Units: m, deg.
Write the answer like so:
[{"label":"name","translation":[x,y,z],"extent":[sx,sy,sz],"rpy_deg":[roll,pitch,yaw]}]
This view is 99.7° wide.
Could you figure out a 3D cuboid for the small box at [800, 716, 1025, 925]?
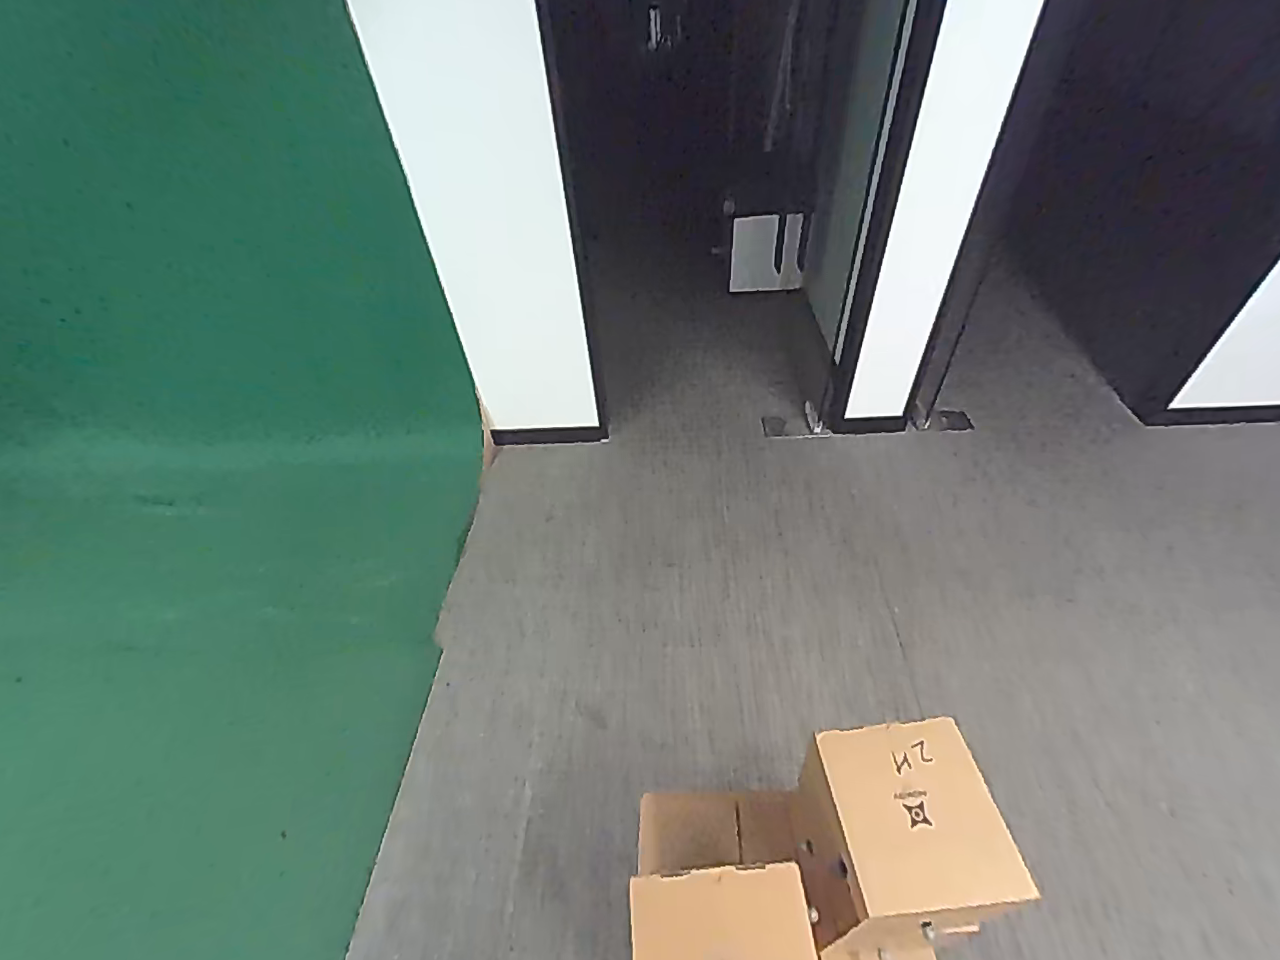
[{"label":"small box","translation":[0.298,0.406,0.640],"extent":[0.168,0.176,0.179],"rpy_deg":[-7,44,1]}]

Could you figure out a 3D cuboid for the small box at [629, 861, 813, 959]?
[{"label":"small box","translation":[0.079,0.498,0.536],"extent":[0.168,0.176,0.179],"rpy_deg":[-5,49,-1]}]
